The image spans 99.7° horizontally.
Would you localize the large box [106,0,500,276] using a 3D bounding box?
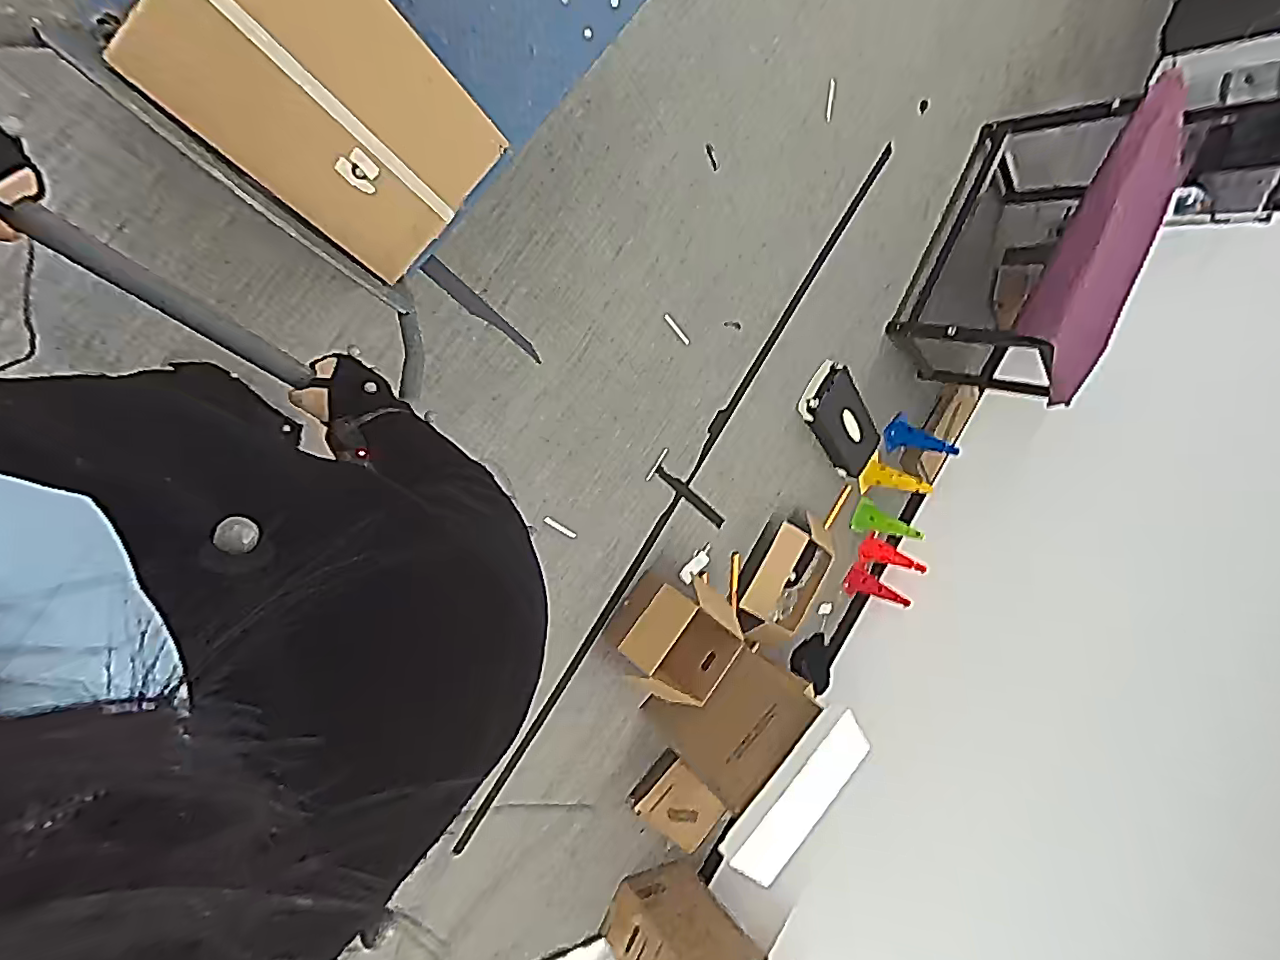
[{"bbox_3d":[-0.519,-0.627,0.896,0.320,0.320,0.408,-45,134,6],"label":"large box"}]
